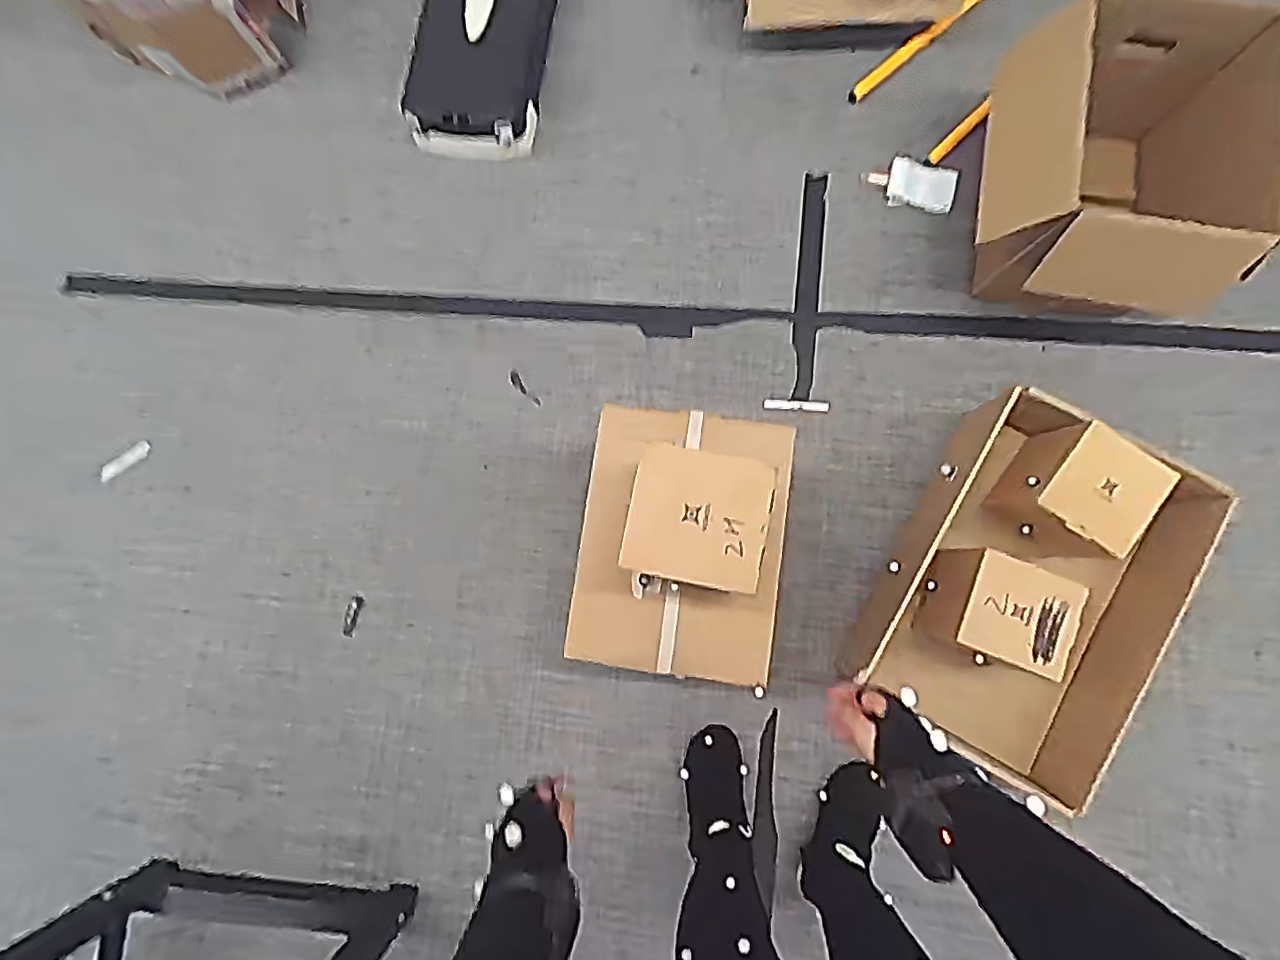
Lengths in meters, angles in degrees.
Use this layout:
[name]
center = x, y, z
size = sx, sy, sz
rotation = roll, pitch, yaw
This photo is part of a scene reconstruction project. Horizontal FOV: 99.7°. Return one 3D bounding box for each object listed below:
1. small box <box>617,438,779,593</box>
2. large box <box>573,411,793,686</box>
[small box]
center = 0.077, 0.051, 0.746
size = 0.179, 0.176, 0.168
rotation = 11, 85, 4
[large box]
center = 0.078, 0.112, 0.988
size = 0.320, 0.320, 0.408
rotation = 7, 85, 6
